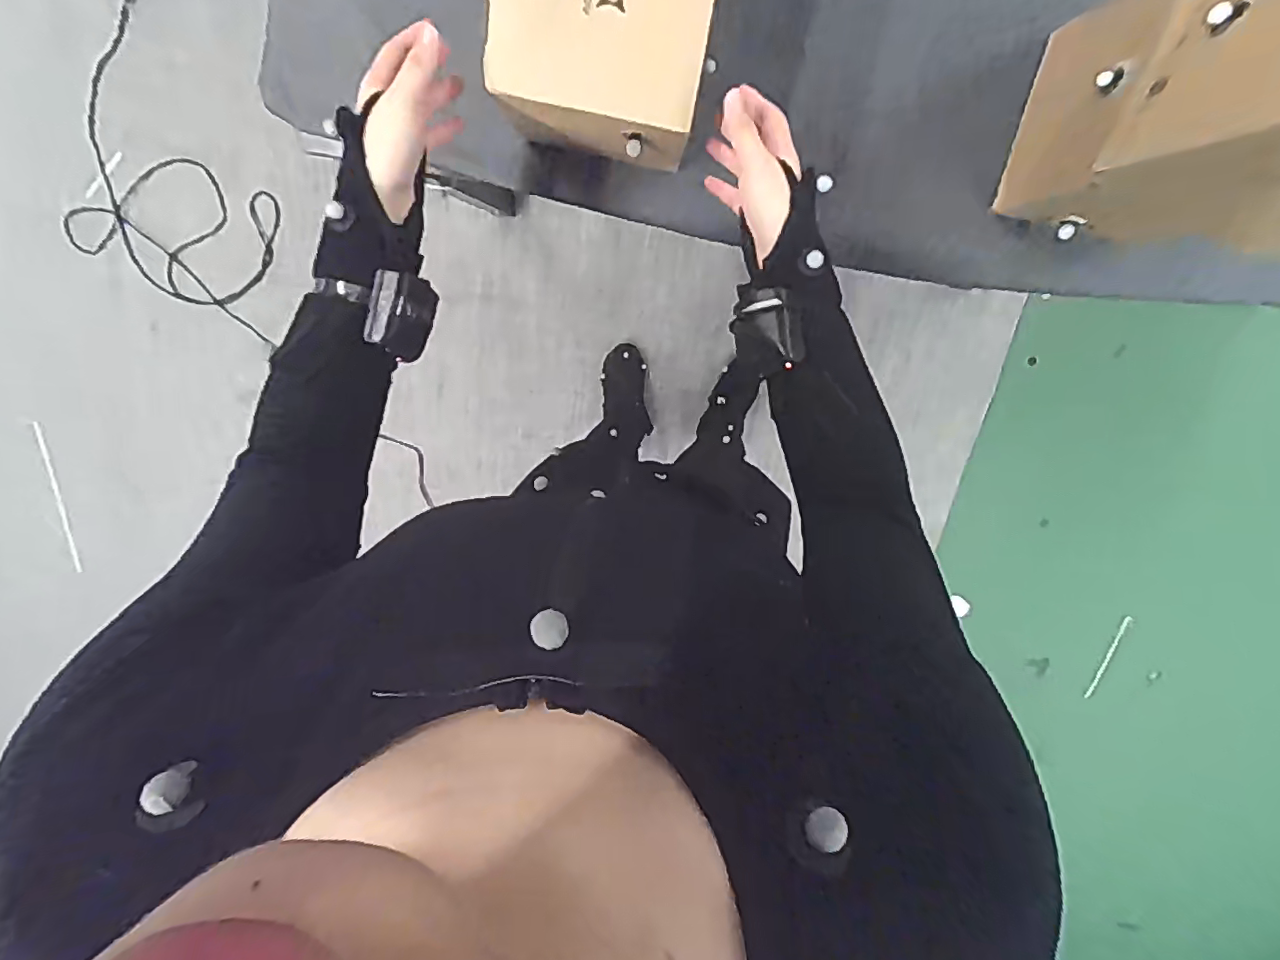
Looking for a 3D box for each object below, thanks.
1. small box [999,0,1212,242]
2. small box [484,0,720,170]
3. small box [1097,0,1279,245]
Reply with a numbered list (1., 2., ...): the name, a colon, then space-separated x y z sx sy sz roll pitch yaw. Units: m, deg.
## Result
1. small box: 0.489 -0.339 0.513 0.168 0.176 0.179 9 109 -2
2. small box: -0.027 -0.400 0.494 0.179 0.176 0.168 10 110 -3
3. small box: 0.486 -0.271 0.365 0.179 0.176 0.168 19 108 -5
